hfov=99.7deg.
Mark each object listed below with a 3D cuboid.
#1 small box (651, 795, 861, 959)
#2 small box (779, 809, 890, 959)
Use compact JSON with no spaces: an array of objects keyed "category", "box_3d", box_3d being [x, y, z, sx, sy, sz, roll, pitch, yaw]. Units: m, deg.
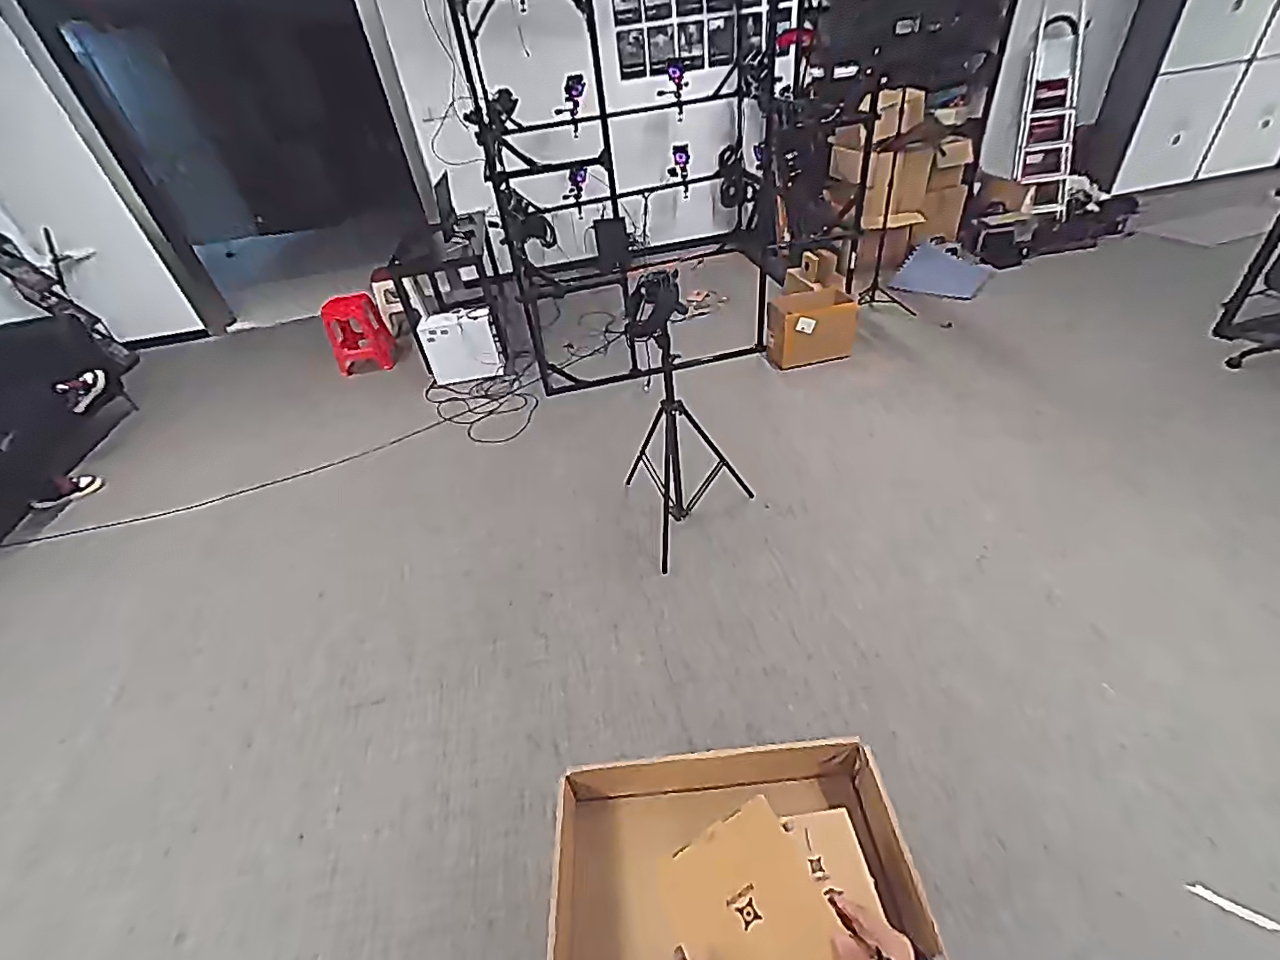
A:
[{"category":"small box","box_3d":[0.141,0.524,0.640,0.168,0.176,0.179,-30,41,-9]},{"category":"small box","box_3d":[0.301,0.700,0.924,0.168,0.176,0.179,-9,37,0]}]
